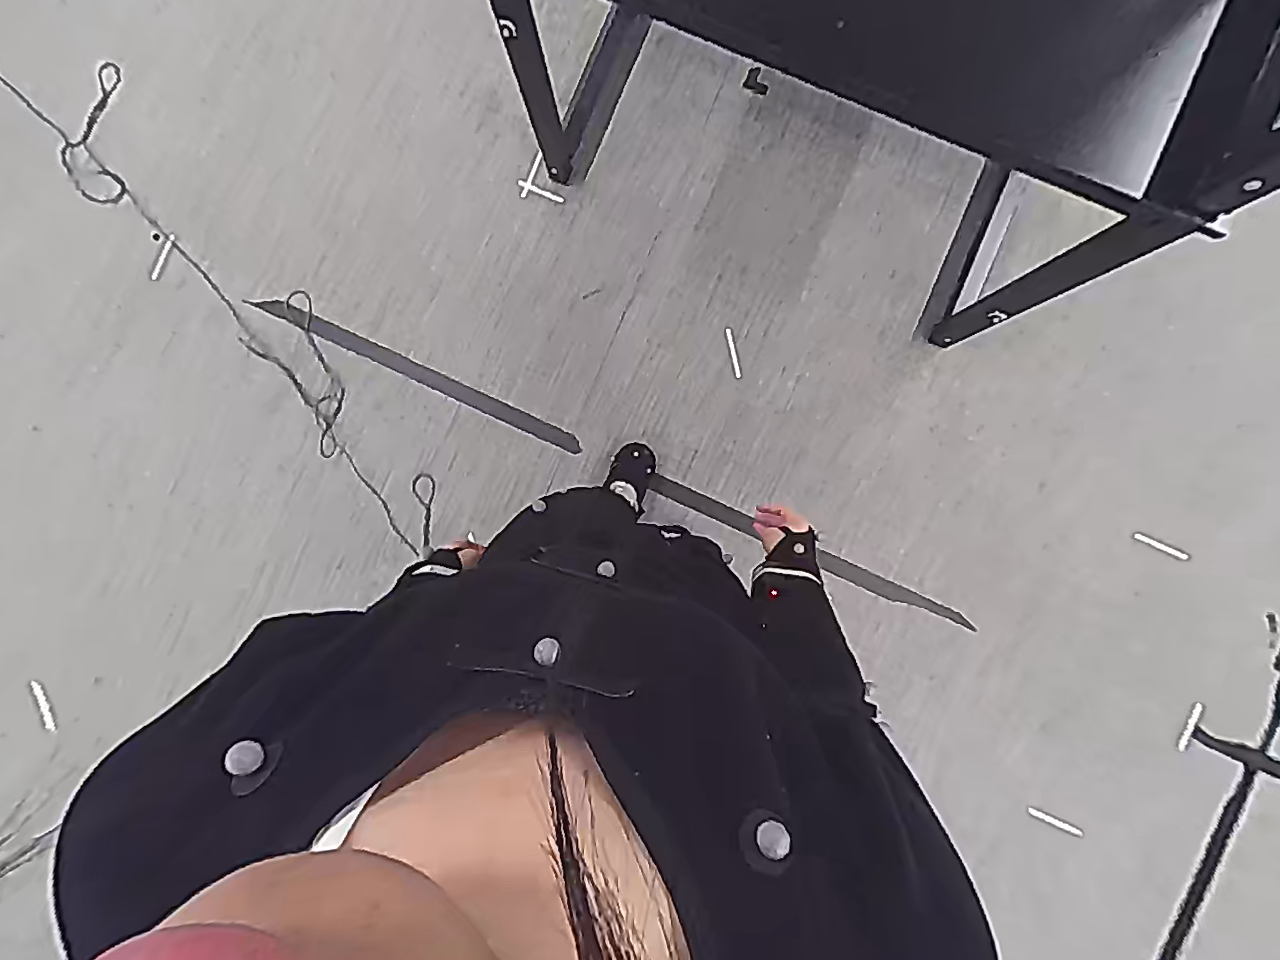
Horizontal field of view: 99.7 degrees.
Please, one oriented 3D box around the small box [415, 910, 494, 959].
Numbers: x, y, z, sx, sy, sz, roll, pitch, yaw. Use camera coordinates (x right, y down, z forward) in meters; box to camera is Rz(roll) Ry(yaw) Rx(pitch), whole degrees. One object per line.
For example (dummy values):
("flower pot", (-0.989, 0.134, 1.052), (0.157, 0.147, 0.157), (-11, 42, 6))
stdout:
("small box", (-0.491, 1.273, 1.404), (0.168, 0.176, 0.179), (11, 89, 1))
